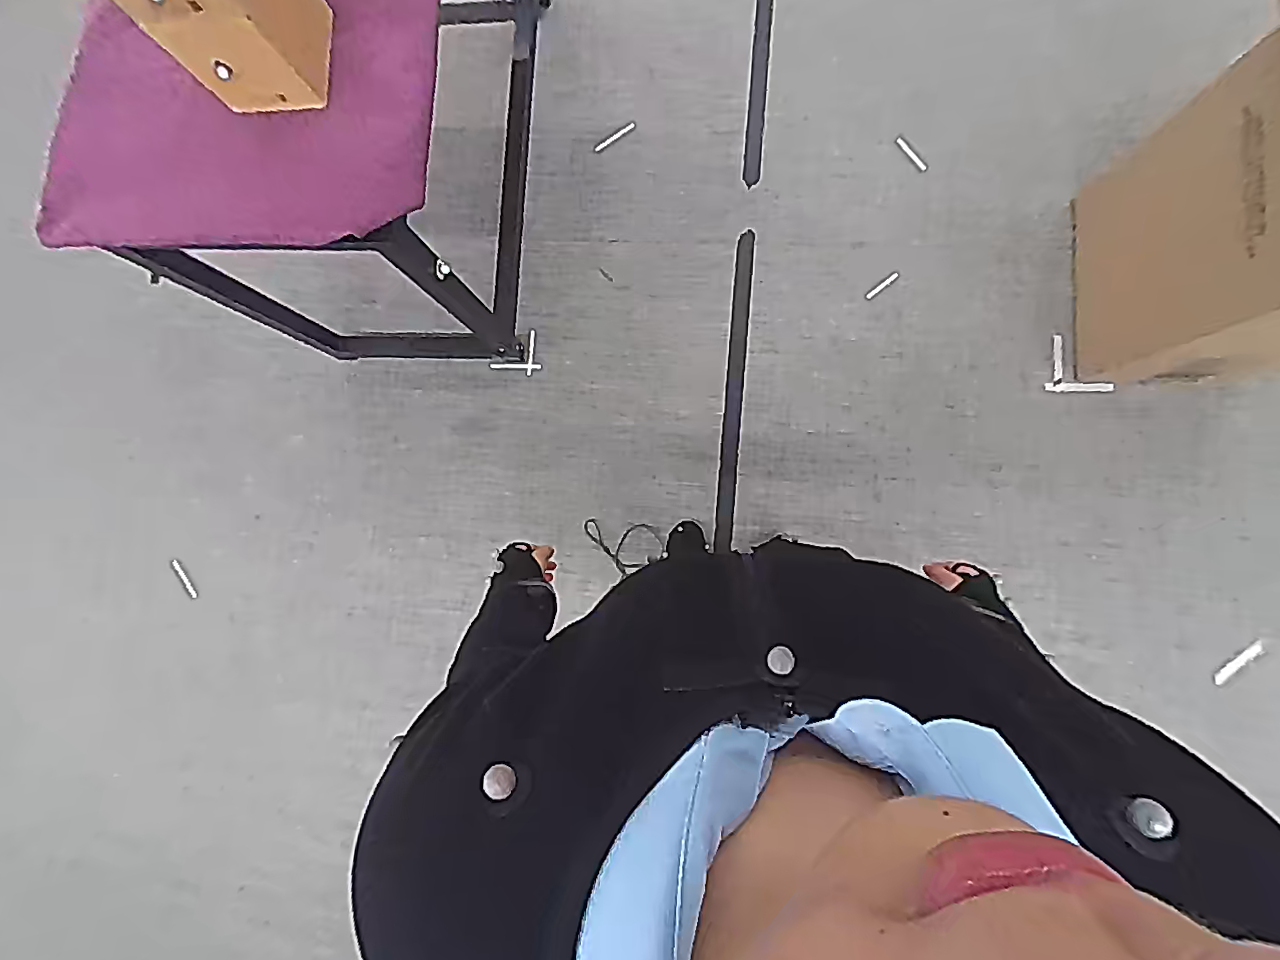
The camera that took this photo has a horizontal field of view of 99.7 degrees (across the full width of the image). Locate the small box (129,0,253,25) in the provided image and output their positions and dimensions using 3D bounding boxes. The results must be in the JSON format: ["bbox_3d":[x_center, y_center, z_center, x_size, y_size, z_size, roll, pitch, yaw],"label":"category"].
[{"bbox_3d":[-0.614,-0.724,0.673,0.168,0.176,0.179,0,85,6],"label":"small box"}]

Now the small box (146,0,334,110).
[{"bbox_3d":[-0.604,-0.709,0.837,0.168,0.176,0.179,0,85,5],"label":"small box"}]
